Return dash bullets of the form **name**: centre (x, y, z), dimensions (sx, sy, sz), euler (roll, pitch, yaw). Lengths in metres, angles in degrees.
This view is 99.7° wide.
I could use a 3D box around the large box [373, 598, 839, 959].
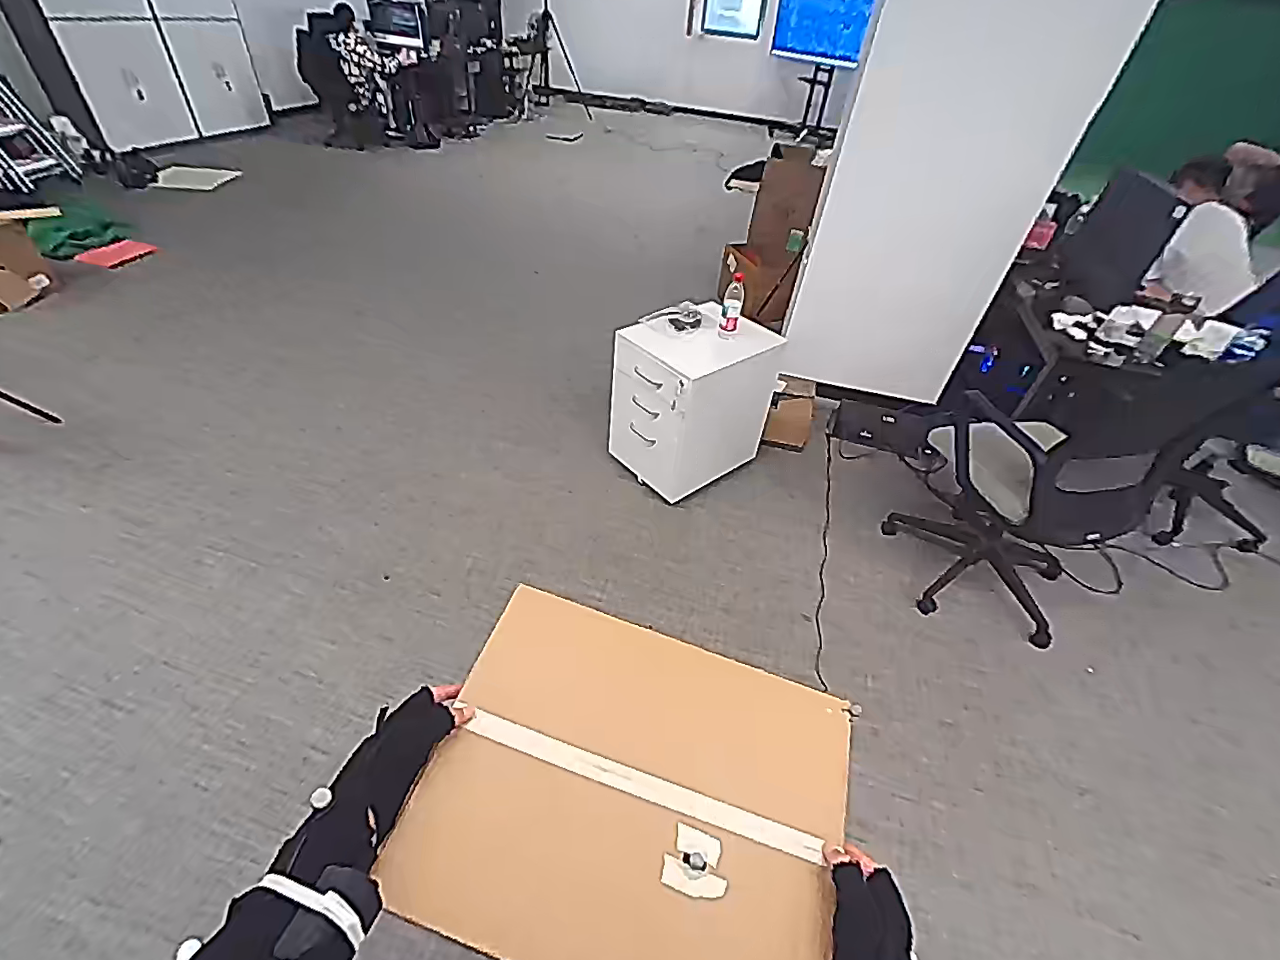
- **large box**: centre (-0.024, 0.402, 0.653), dimensions (0.408, 0.320, 0.320), euler (19, 50, 5)
